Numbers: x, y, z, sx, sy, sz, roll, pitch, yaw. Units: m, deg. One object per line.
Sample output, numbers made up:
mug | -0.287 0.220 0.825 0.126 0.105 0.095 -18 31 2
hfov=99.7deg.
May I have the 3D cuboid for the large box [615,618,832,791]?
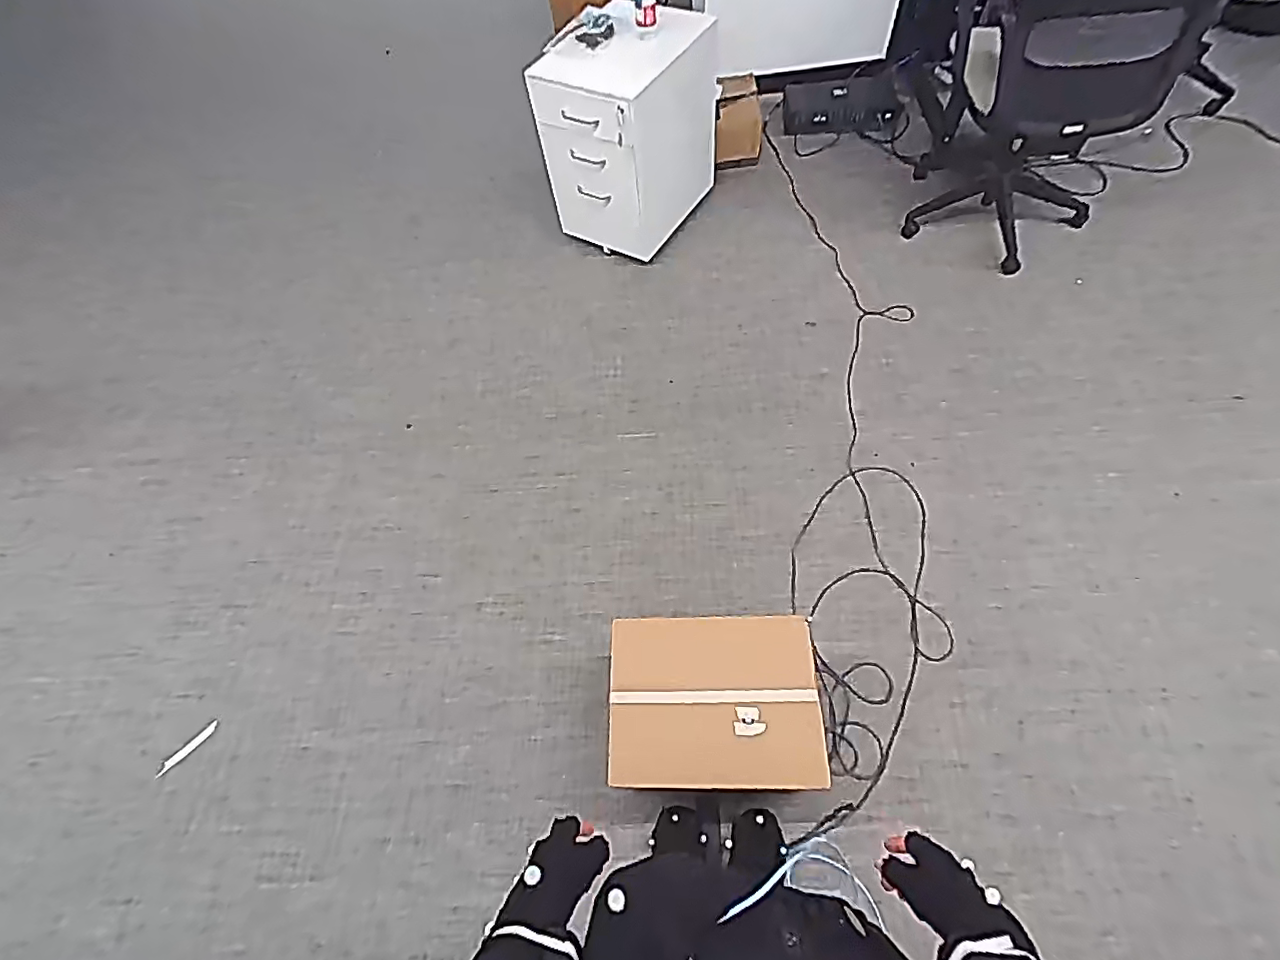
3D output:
large box | 0.163 0.502 1.189 0.408 0.320 0.320 -2 61 5
